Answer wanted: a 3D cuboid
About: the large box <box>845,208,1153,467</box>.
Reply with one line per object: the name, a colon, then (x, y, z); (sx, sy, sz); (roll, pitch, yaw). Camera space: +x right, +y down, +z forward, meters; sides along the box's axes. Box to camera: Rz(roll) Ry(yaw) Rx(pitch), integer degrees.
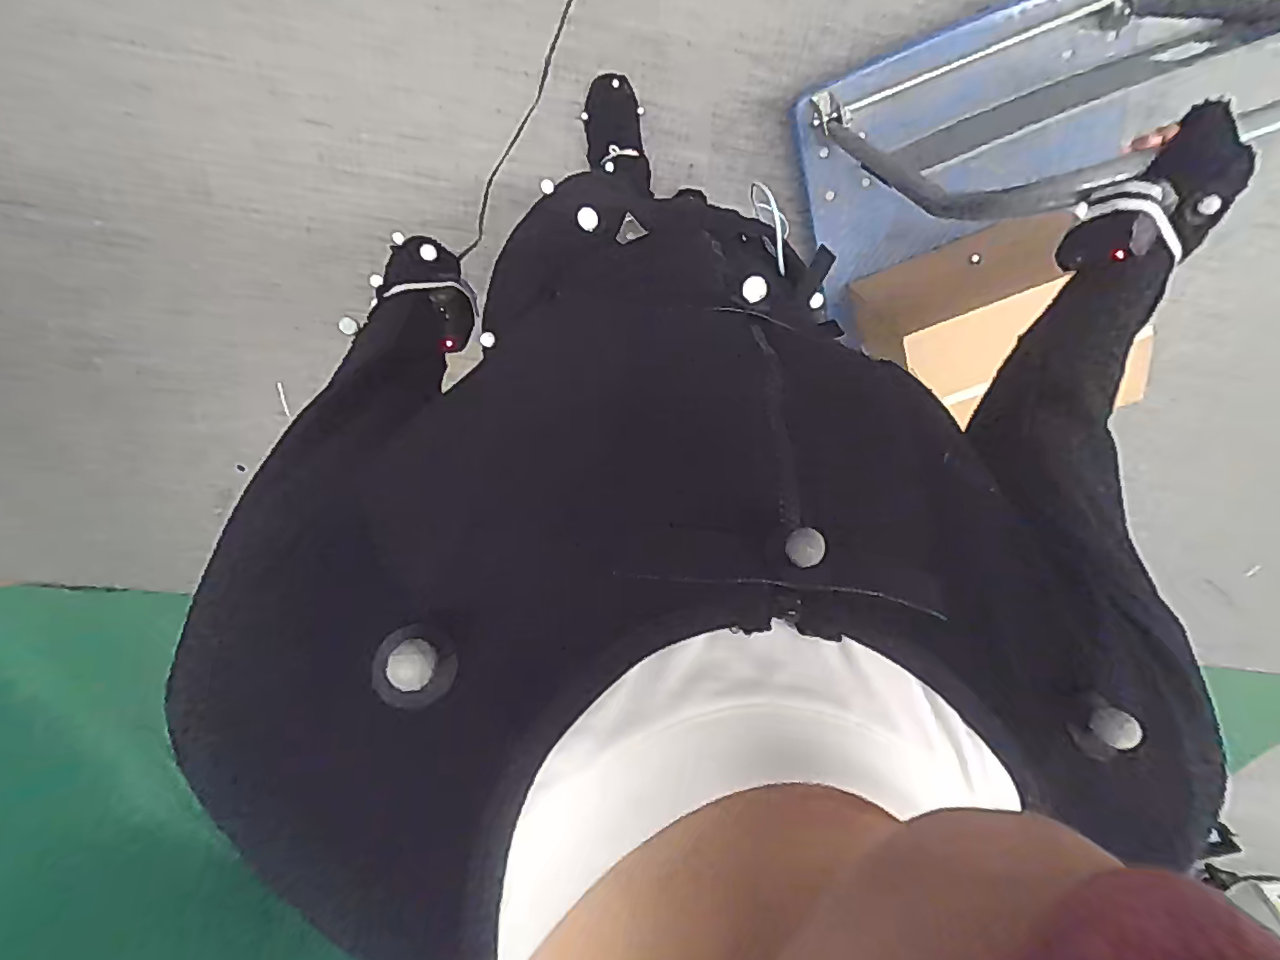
large box: (0.693, -0.291, 1.103); (0.408, 0.320, 0.320); (-21, 125, 13)
